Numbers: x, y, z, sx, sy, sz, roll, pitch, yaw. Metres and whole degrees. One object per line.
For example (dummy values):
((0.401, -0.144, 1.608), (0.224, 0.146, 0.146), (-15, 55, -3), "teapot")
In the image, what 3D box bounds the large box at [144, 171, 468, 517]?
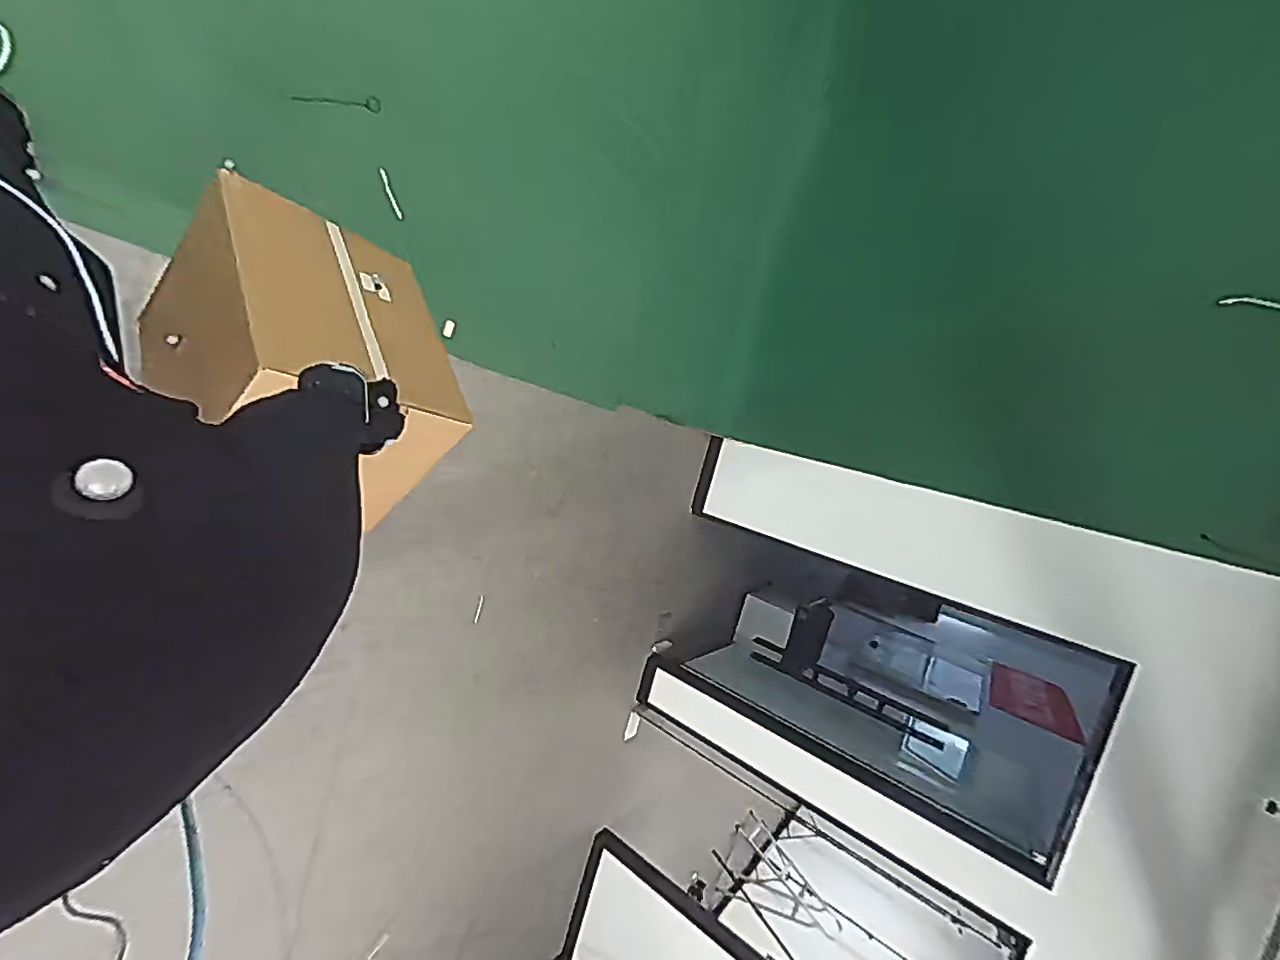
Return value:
((-0.554, -0.187, 0.890), (0.320, 0.408, 0.320), (-38, 155, 21), "large box")
